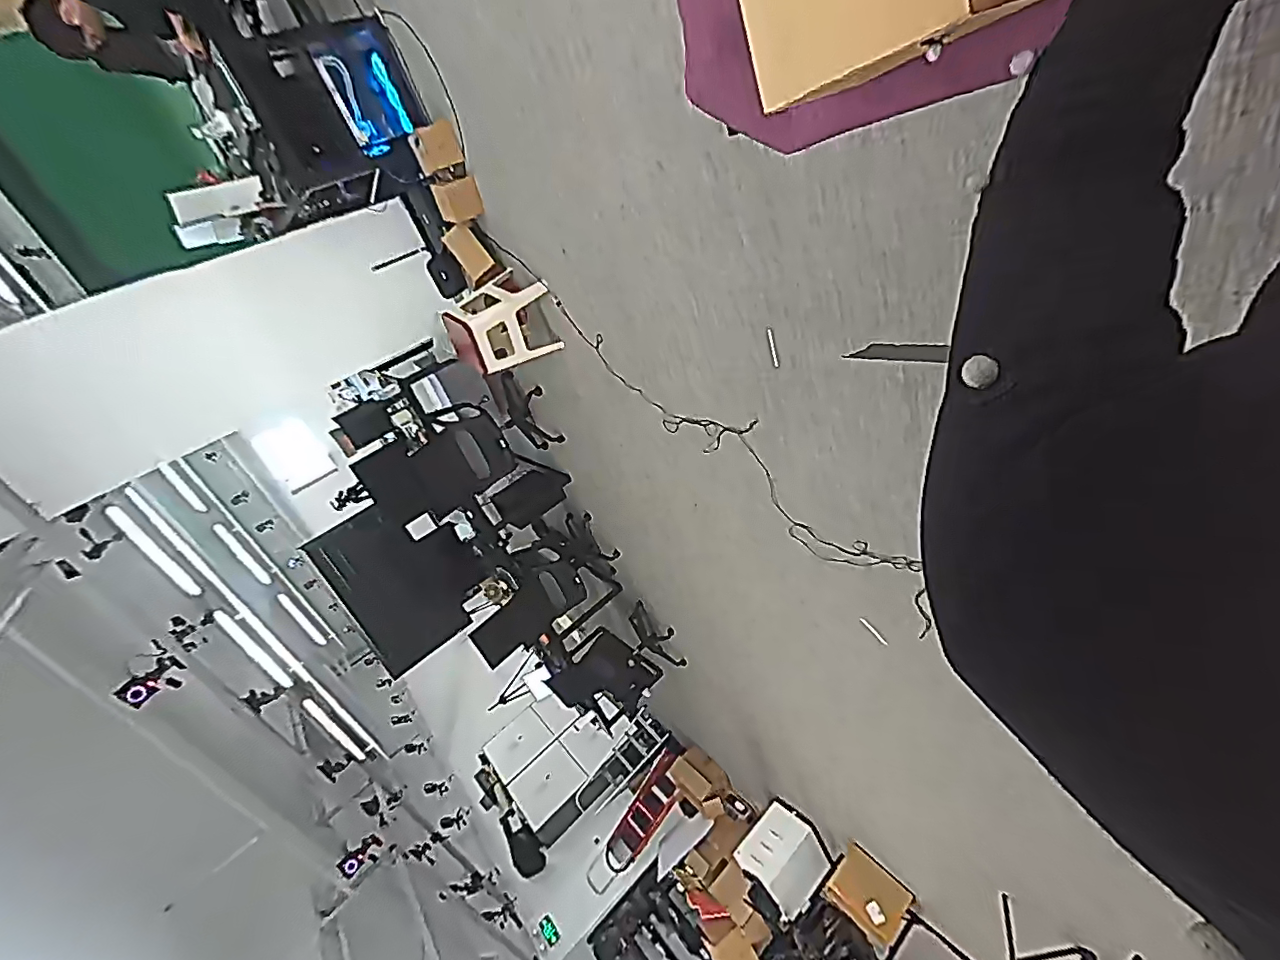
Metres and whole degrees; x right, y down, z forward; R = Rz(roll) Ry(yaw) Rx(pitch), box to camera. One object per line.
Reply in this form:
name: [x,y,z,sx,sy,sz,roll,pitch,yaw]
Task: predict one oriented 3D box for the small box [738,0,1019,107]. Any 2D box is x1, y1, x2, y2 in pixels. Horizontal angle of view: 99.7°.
small box: [0.191,-0.426,0.416,0.179,0.176,0.168,14,133,53]
